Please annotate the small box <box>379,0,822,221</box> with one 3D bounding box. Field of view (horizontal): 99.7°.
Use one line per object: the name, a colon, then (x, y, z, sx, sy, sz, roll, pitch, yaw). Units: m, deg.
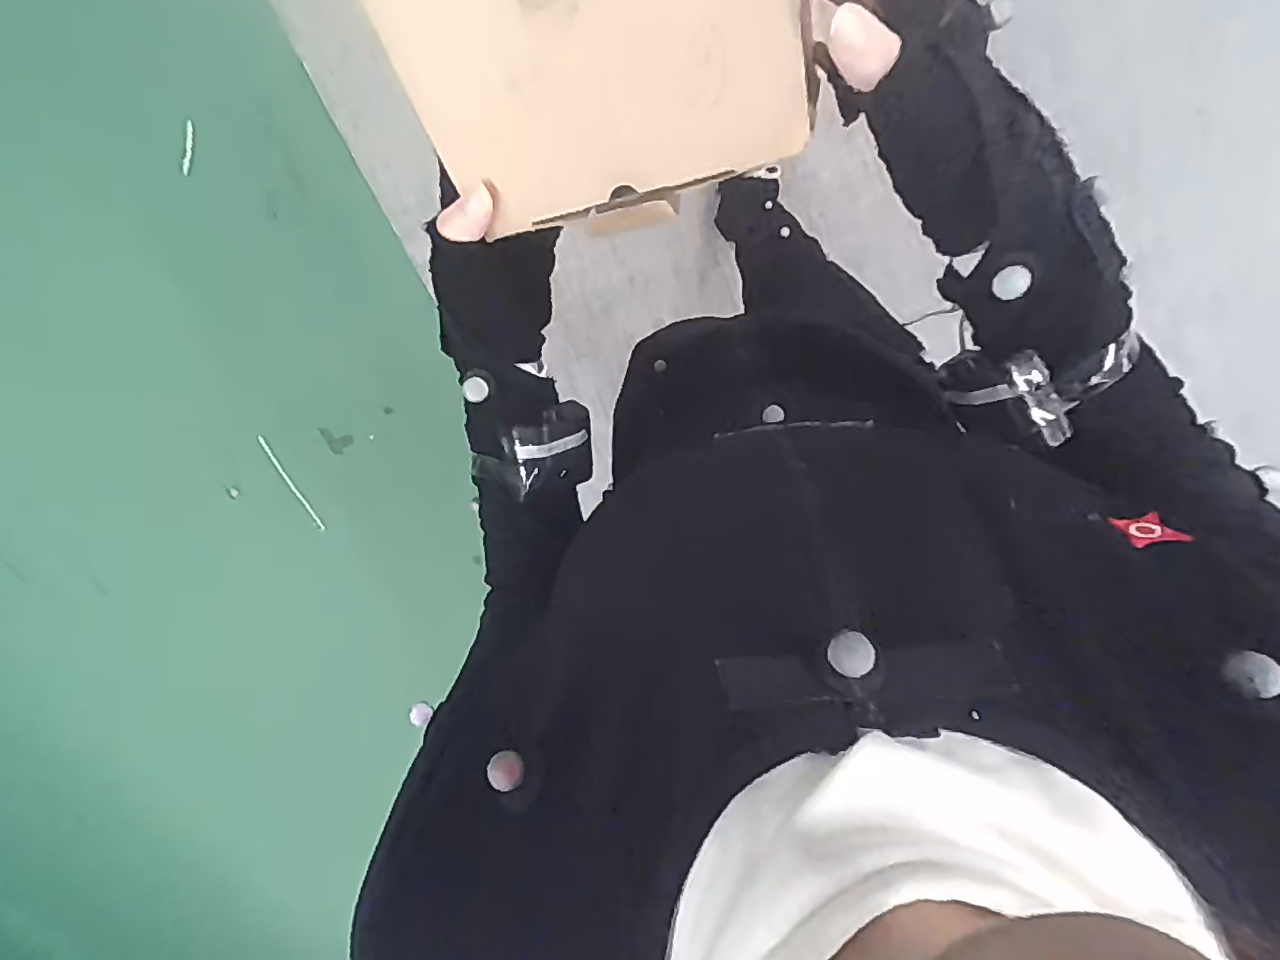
small box: (-0.010, -0.255, 0.248, 0.168, 0.176, 0.179, -3, 134, 23)
